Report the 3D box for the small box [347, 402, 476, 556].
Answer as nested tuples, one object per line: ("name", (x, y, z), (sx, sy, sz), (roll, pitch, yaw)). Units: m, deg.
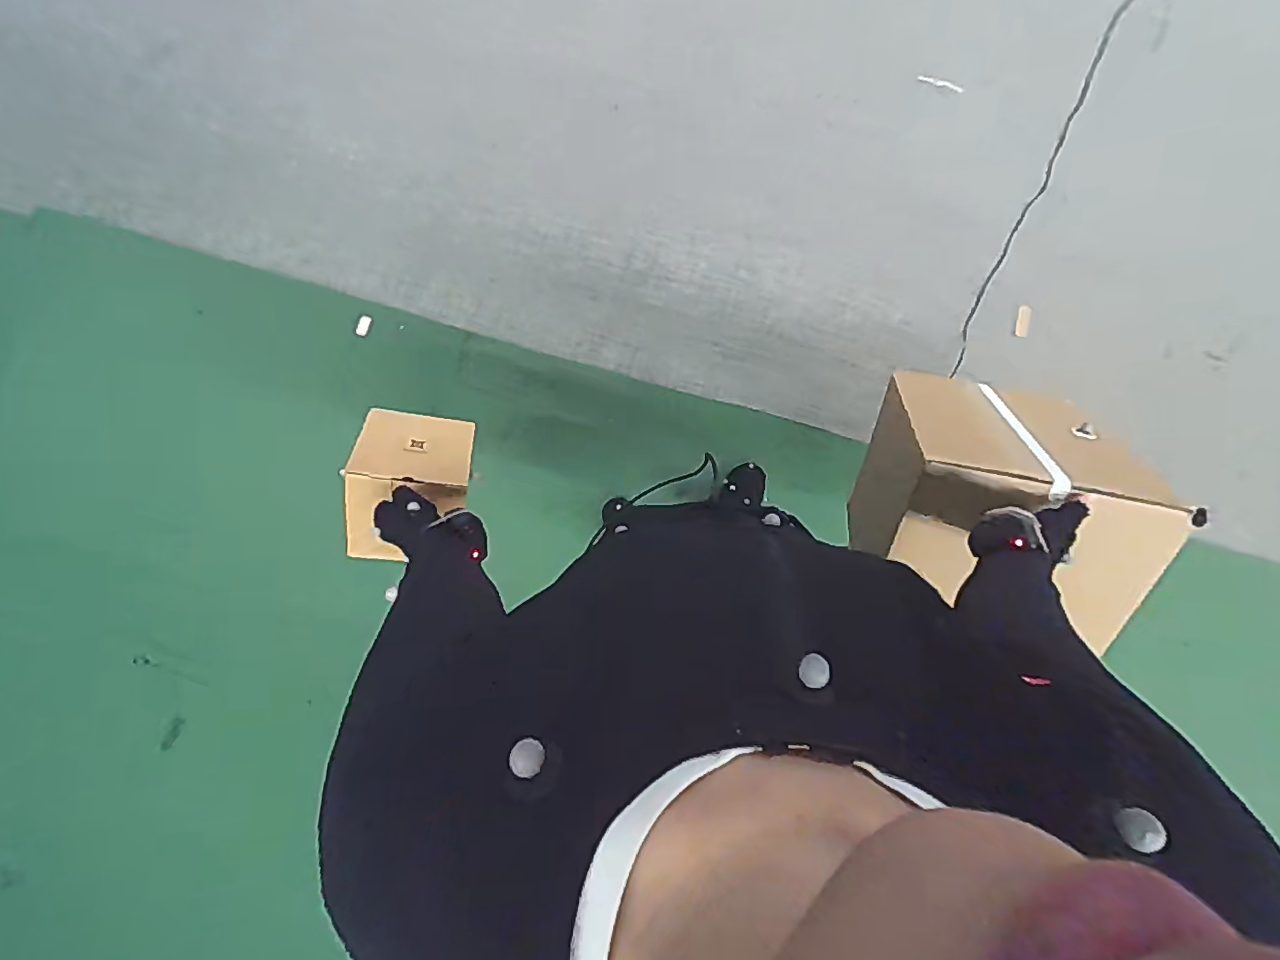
("small box", (-0.368, 0.000, 0.884), (0.168, 0.179, 0.176), (7, 129, -17))
